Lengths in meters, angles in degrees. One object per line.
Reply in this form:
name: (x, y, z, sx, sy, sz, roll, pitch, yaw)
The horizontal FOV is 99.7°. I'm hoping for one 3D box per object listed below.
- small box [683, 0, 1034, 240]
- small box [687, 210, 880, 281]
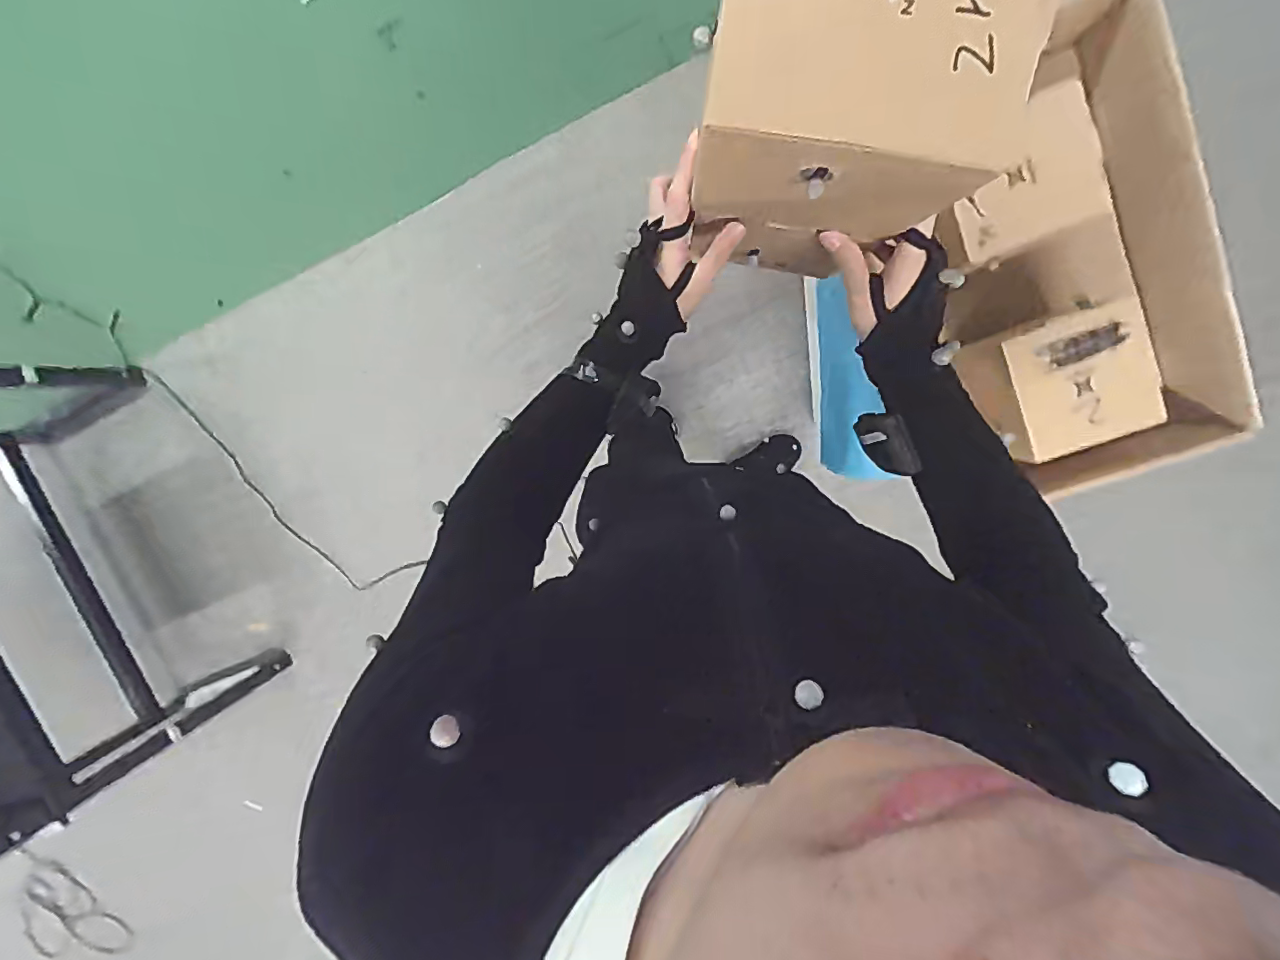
small box: (0.127, -0.277, 0.367, 0.179, 0.176, 0.168, 9, 101, 1)
small box: (0.141, -0.310, 0.529, 0.168, 0.176, 0.179, 9, 102, 1)
